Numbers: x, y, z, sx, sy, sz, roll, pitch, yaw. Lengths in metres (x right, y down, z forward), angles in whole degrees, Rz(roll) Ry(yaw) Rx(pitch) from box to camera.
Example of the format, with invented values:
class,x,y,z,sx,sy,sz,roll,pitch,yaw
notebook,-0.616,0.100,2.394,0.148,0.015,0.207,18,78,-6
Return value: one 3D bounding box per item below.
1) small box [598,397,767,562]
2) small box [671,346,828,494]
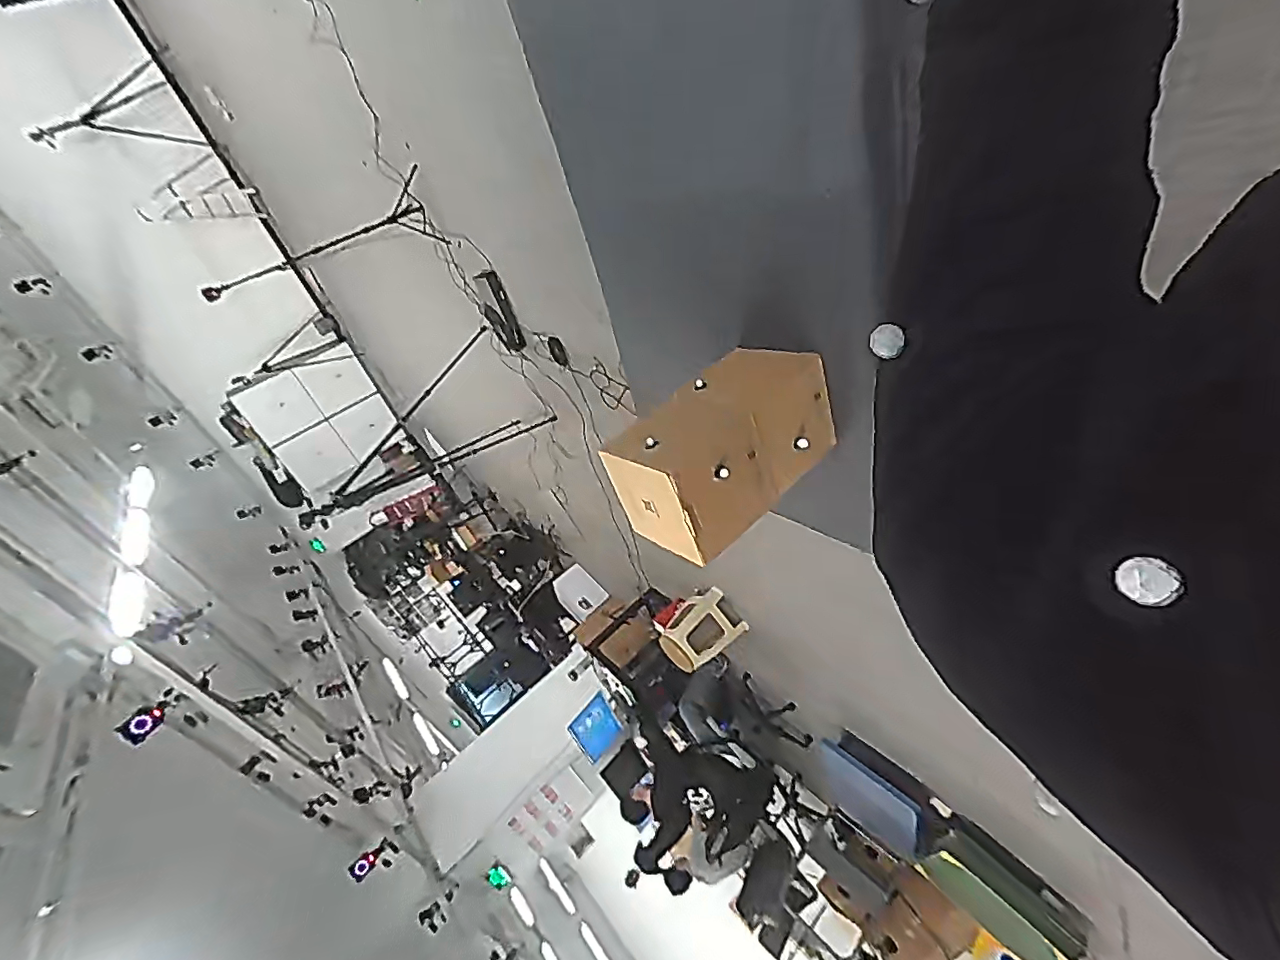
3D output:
class,x,y,z,sx,sy,sz,roll,pitch,yaw
small box,0.072,-0.012,0.819,0.179,0.176,0.168,21,141,51
small box,0.187,-0.106,0.885,0.179,0.176,0.168,21,142,50
